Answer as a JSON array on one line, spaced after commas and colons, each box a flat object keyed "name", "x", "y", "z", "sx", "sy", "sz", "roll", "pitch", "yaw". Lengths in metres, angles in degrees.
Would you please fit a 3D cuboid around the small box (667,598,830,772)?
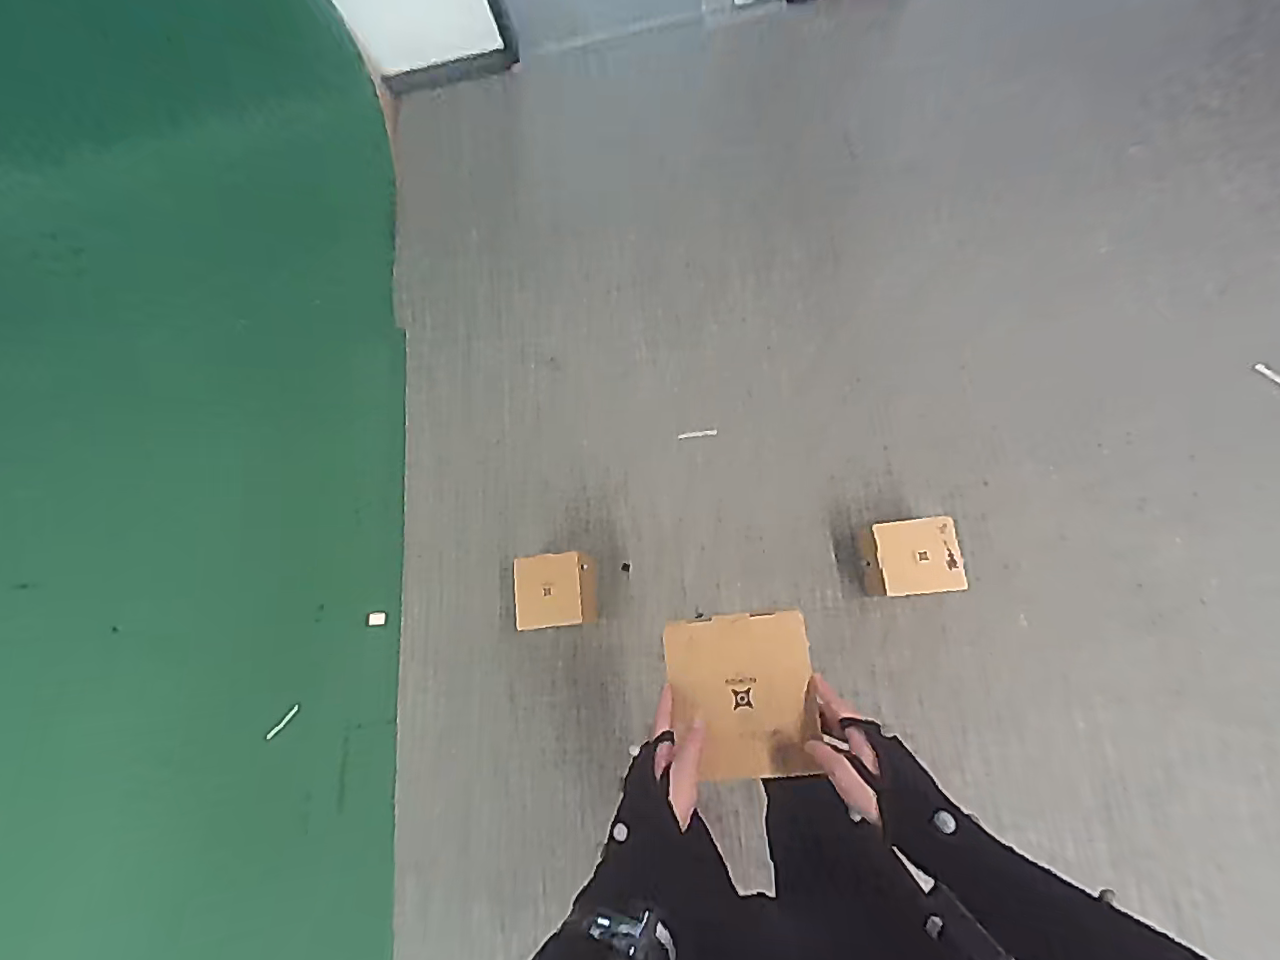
[{"name": "small box", "x": 0.125, "y": 0.246, "z": 0.680, "sx": 0.168, "sy": 0.176, "sz": 0.179, "roll": -7, "pitch": 76, "yaw": 5}]

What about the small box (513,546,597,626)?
[{"name": "small box", "x": -0.211, "y": 0.271, "z": 1.372, "sx": 0.168, "sy": 0.176, "sz": 0.179, "roll": -8, "pitch": 75, "yaw": 7}]

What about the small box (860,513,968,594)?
[{"name": "small box", "x": 0.629, "y": 0.178, "z": 1.269, "sx": 0.179, "sy": 0.176, "sz": 0.168, "roll": -7, "pitch": 76, "yaw": 8}]
